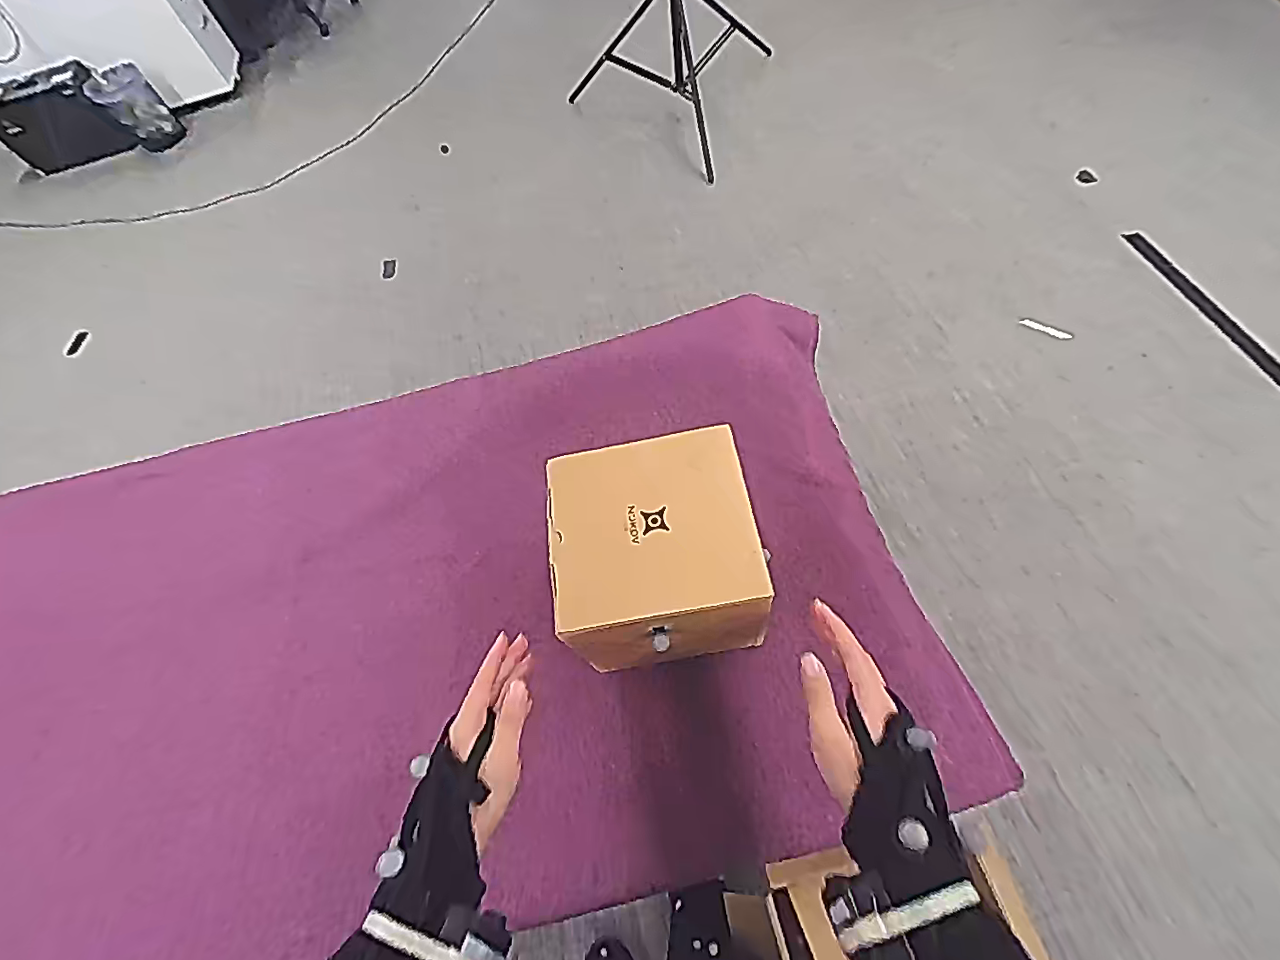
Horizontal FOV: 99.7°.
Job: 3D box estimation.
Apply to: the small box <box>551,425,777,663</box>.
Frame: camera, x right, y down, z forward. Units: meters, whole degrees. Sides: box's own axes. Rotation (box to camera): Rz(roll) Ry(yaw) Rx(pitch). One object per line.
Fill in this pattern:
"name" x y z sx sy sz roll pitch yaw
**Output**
"small box" 0.023 0.072 0.531 0.179 0.176 0.168 -11 60 4
